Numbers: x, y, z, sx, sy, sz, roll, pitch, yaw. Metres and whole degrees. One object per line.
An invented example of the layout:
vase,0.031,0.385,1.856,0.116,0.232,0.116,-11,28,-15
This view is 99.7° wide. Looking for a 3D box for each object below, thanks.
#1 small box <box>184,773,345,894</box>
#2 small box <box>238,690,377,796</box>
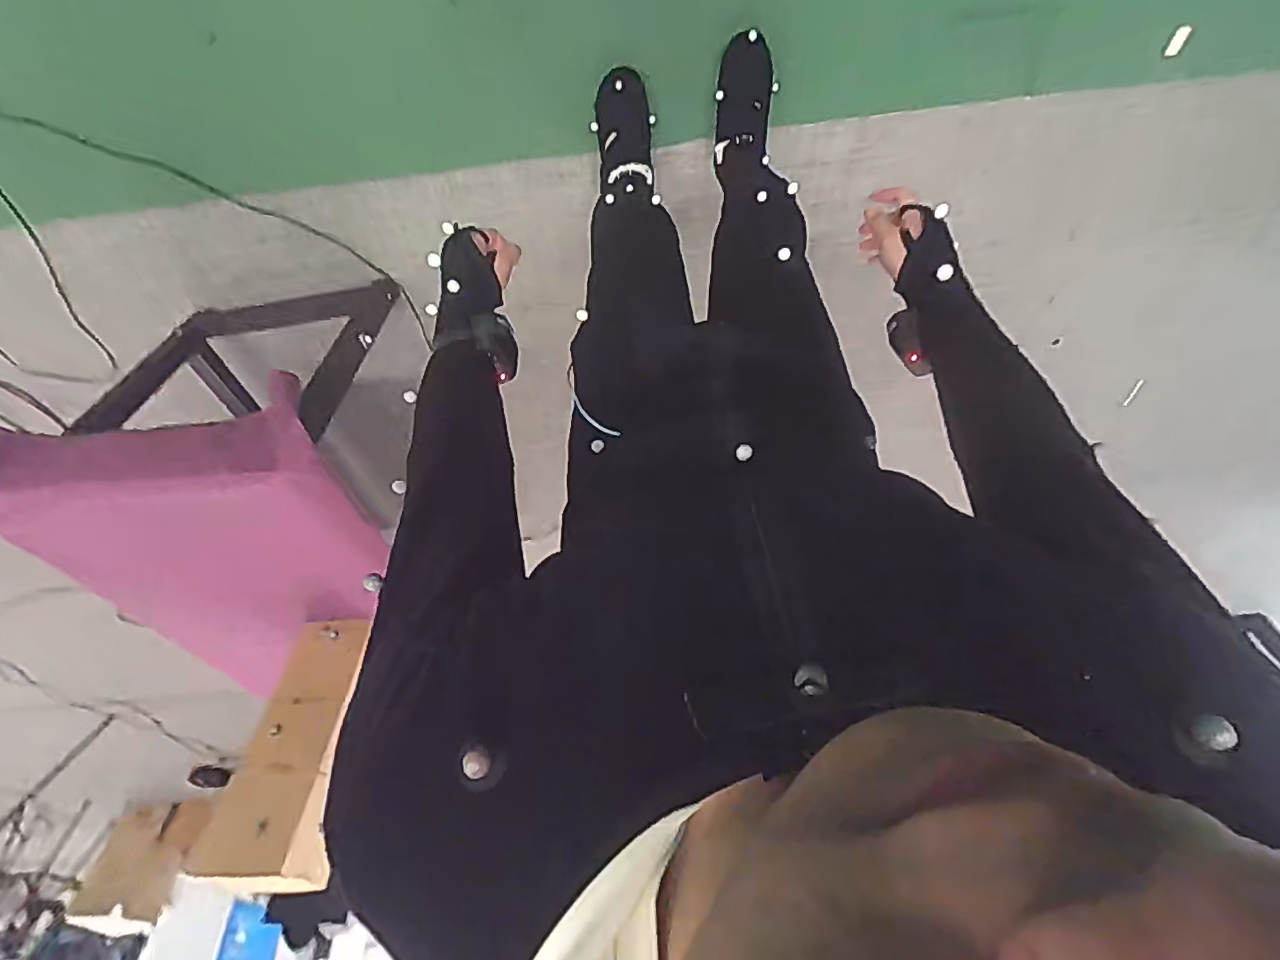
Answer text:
small box,-0.700,0.678,1.041,0.179,0.176,0.168,-2,135,1
small box,-0.695,0.562,1.156,0.168,0.176,0.179,-2,135,1
